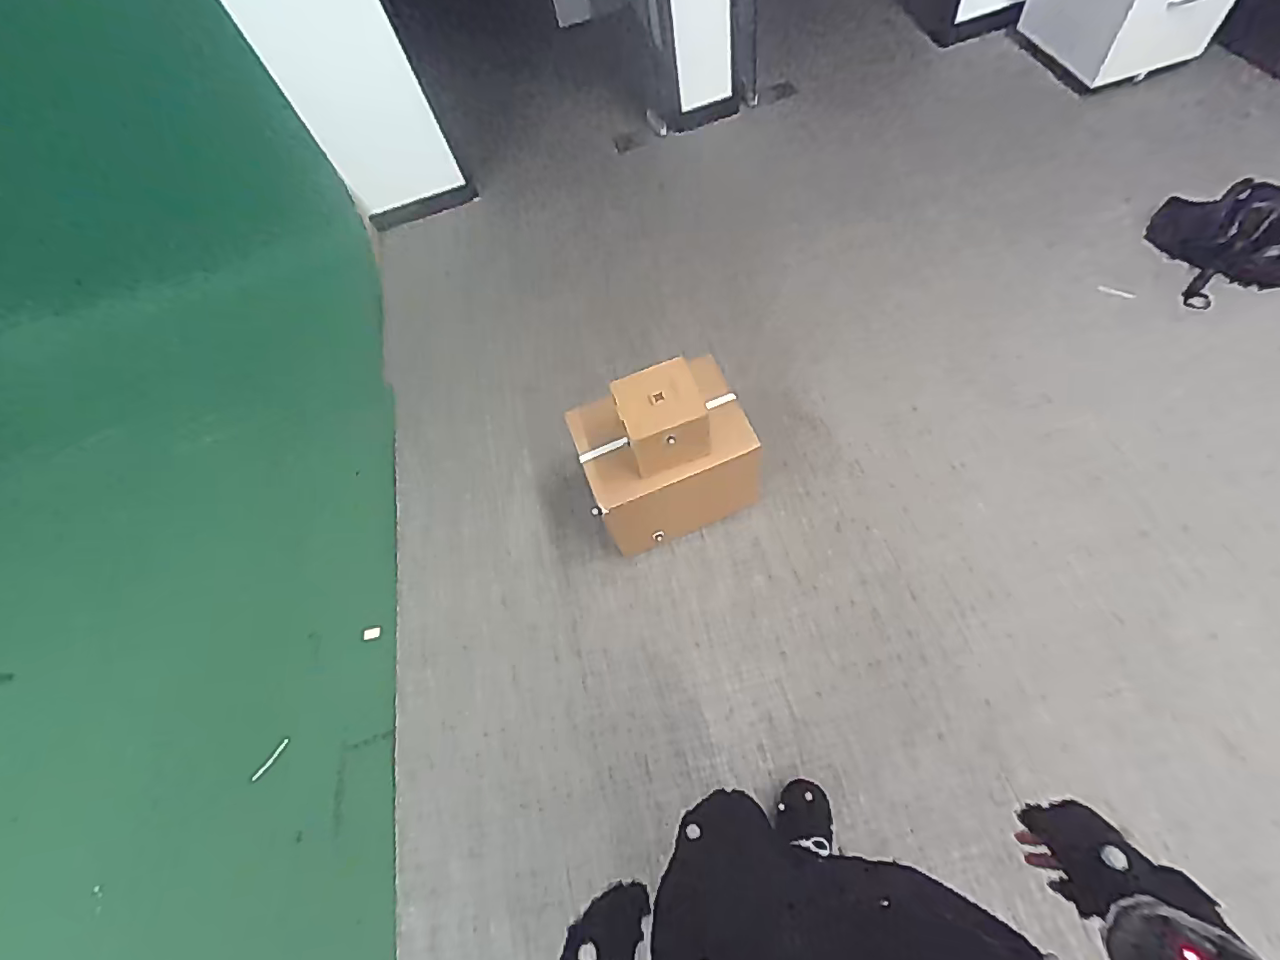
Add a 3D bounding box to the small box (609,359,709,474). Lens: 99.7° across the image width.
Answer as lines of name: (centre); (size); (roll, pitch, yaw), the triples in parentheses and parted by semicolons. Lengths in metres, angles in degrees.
small box: (0.049, -0.137, 1.227); (0.179, 0.176, 0.168); (-20, 62, -2)
